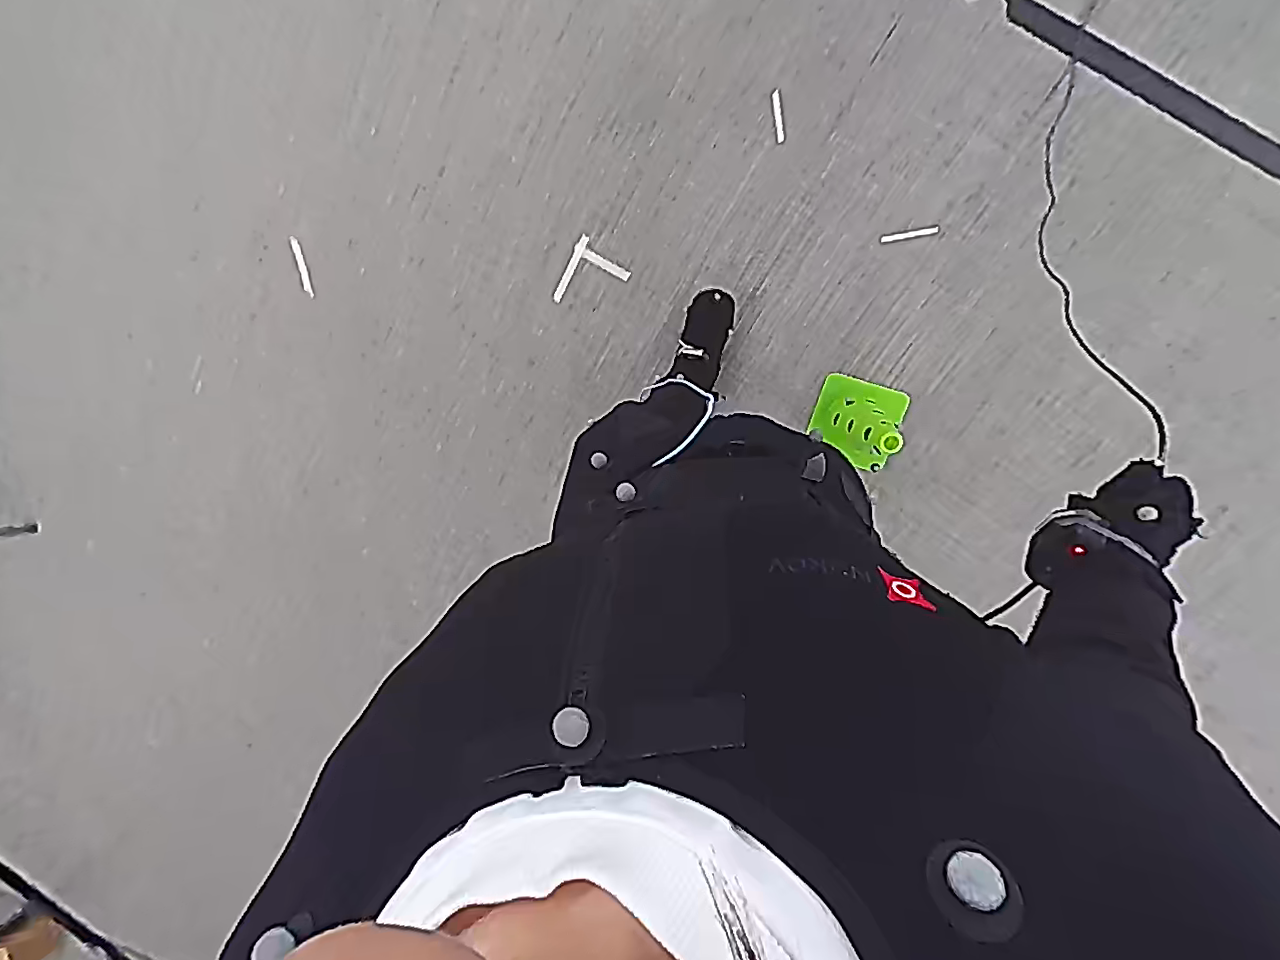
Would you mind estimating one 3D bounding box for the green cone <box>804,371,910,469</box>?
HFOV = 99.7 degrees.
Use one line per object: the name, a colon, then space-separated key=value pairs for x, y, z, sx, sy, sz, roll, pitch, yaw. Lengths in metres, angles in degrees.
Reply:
green cone: x=0.482 y=-0.112 z=1.134 sx=0.202 sy=0.368 sz=0.200 roll=18 pitch=104 yaw=9
